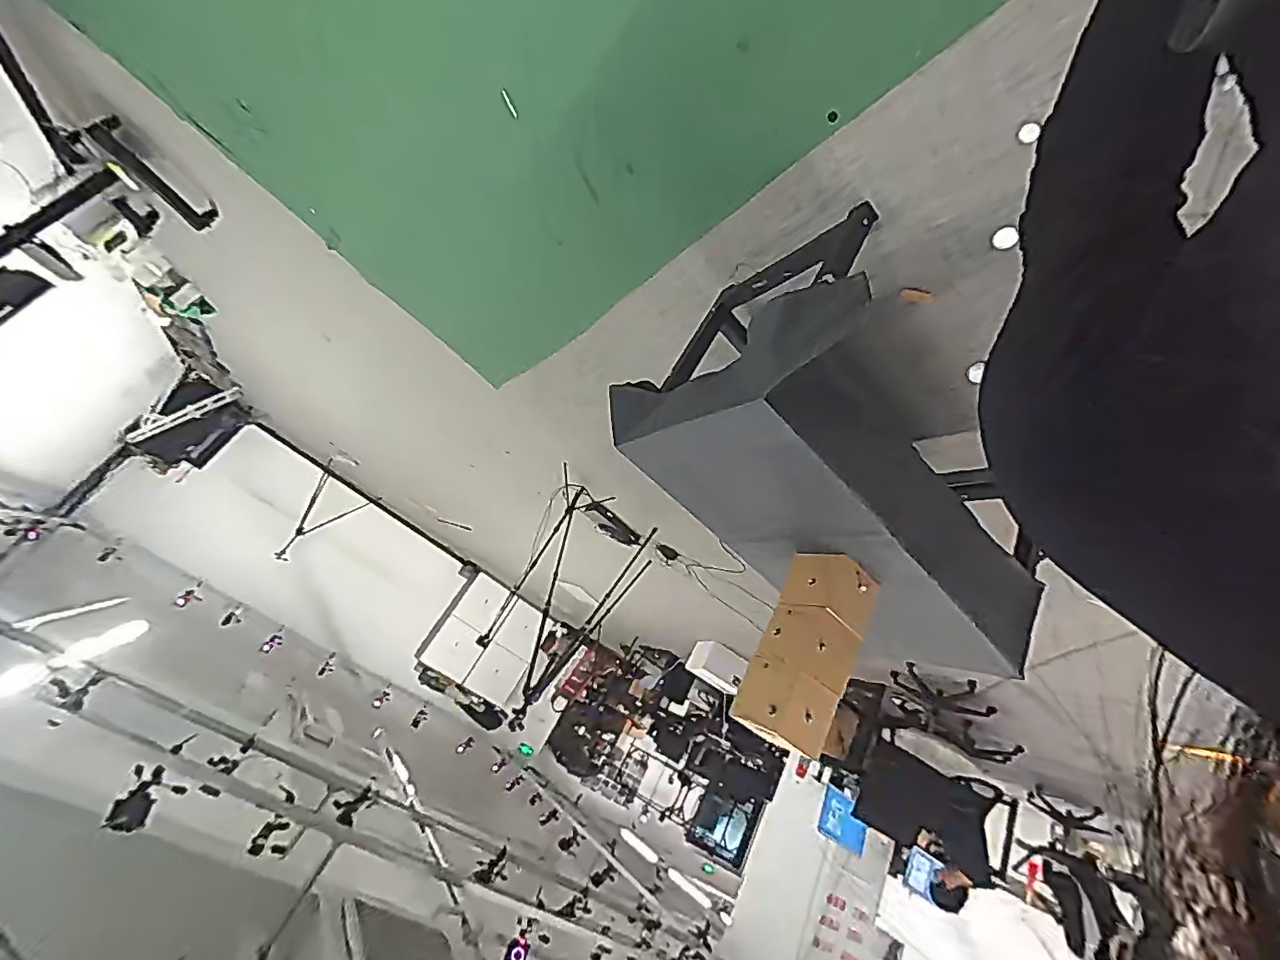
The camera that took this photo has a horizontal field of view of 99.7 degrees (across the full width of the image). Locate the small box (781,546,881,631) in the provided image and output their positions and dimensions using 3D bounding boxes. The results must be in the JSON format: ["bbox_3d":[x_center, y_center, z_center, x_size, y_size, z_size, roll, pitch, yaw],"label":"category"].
[{"bbox_3d":[0.533,0.295,1.502,0.168,0.176,0.179,41,154,-22],"label":"small box"}]

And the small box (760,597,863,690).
[{"bbox_3d":[0.458,0.427,1.441,0.179,0.176,0.168,40,156,-20],"label":"small box"}]
